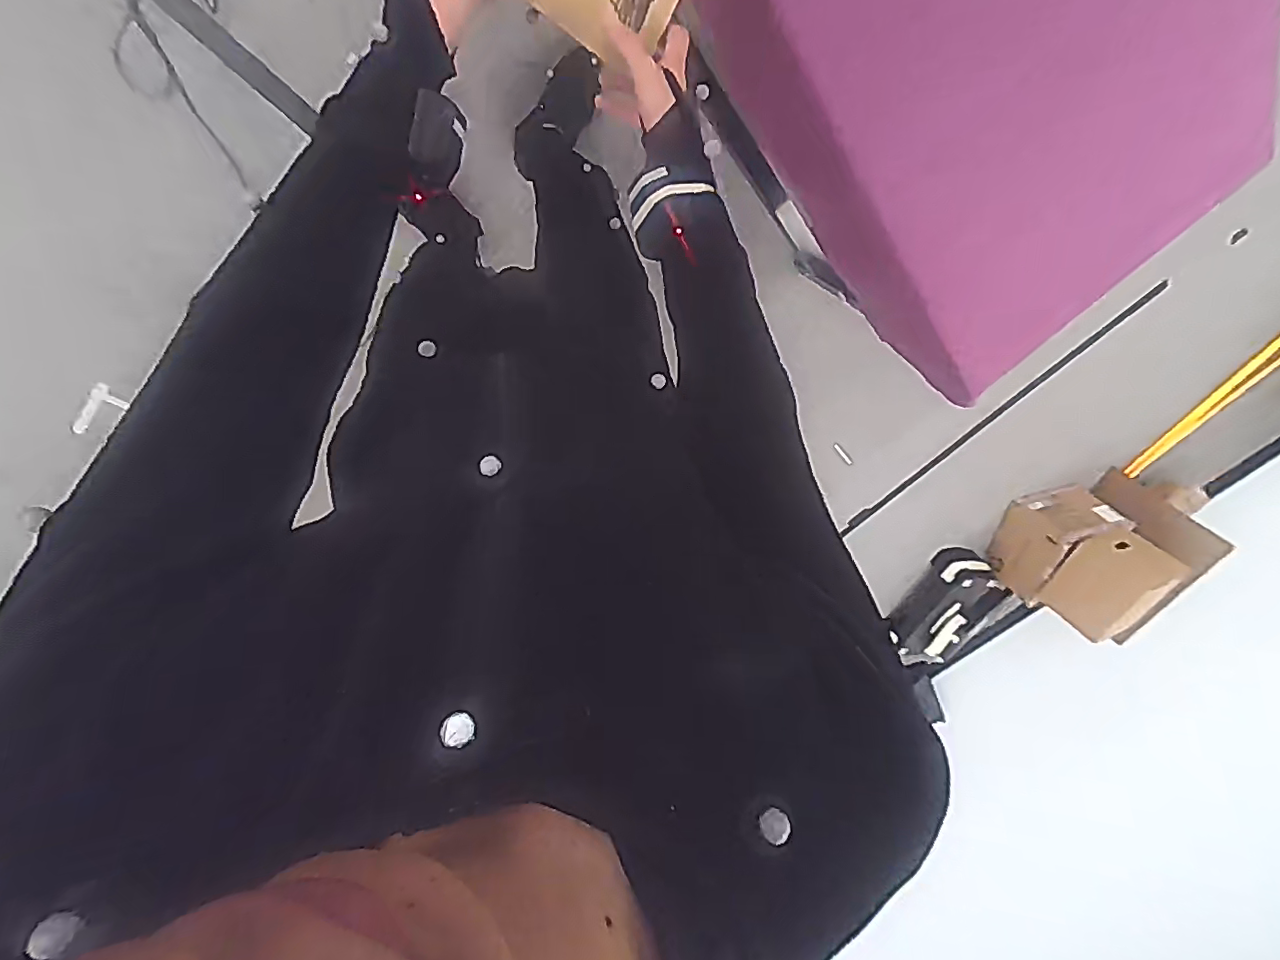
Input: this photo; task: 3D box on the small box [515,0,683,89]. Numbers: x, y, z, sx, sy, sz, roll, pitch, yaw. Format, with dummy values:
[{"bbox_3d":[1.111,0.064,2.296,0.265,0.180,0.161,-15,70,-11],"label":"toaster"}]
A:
[{"bbox_3d":[-0.052,-0.507,0.485,0.179,0.176,0.168,13,129,-36],"label":"small box"}]
